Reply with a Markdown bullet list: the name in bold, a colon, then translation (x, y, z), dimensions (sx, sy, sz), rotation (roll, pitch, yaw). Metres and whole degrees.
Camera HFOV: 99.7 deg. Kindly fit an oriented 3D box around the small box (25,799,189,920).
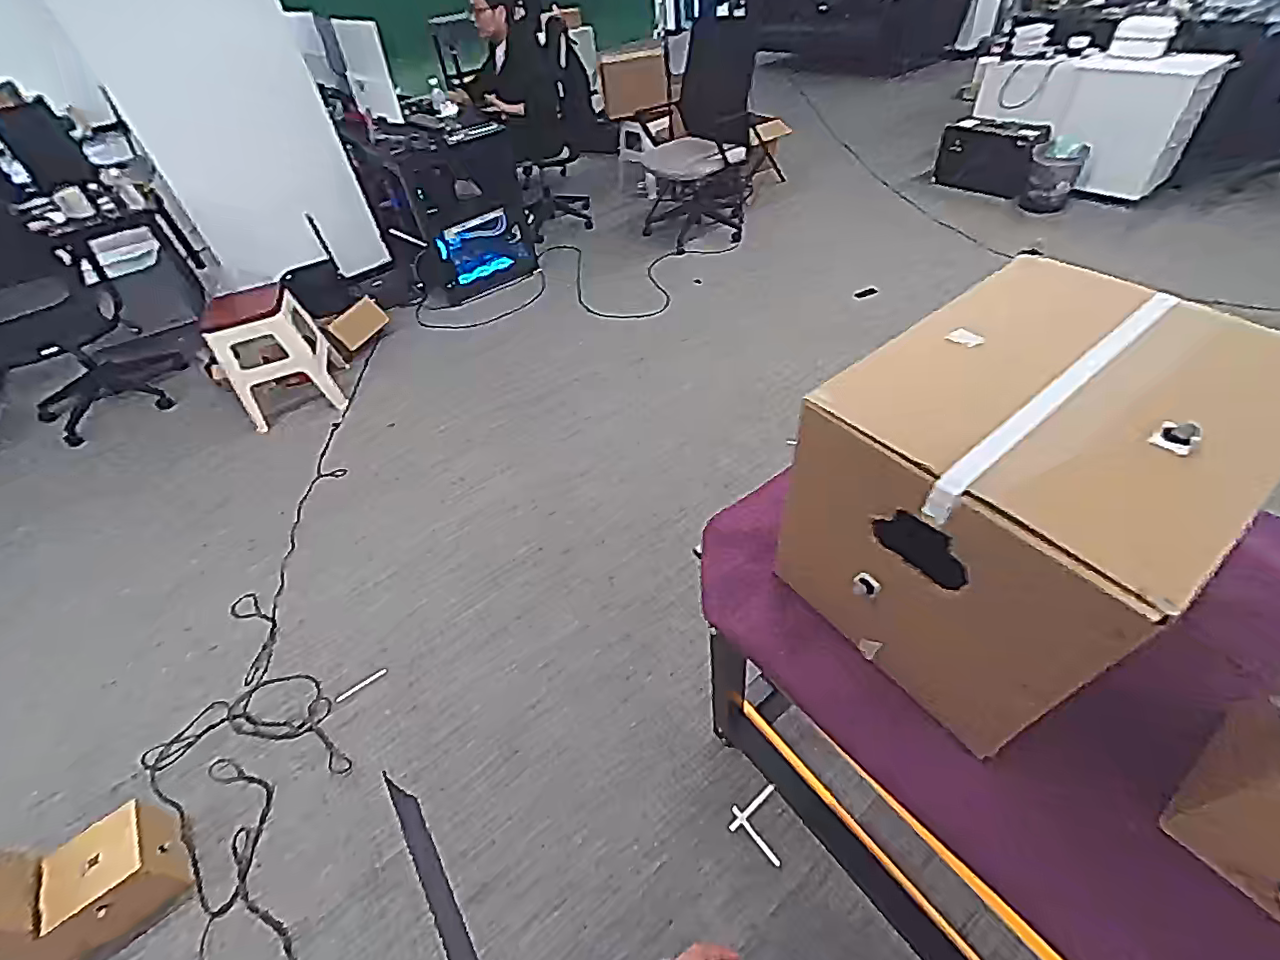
- **small box**: translation (-1.099, 0.790, 1.128), dimensions (0.168, 0.176, 0.179), rotation (-4, 55, -14)
